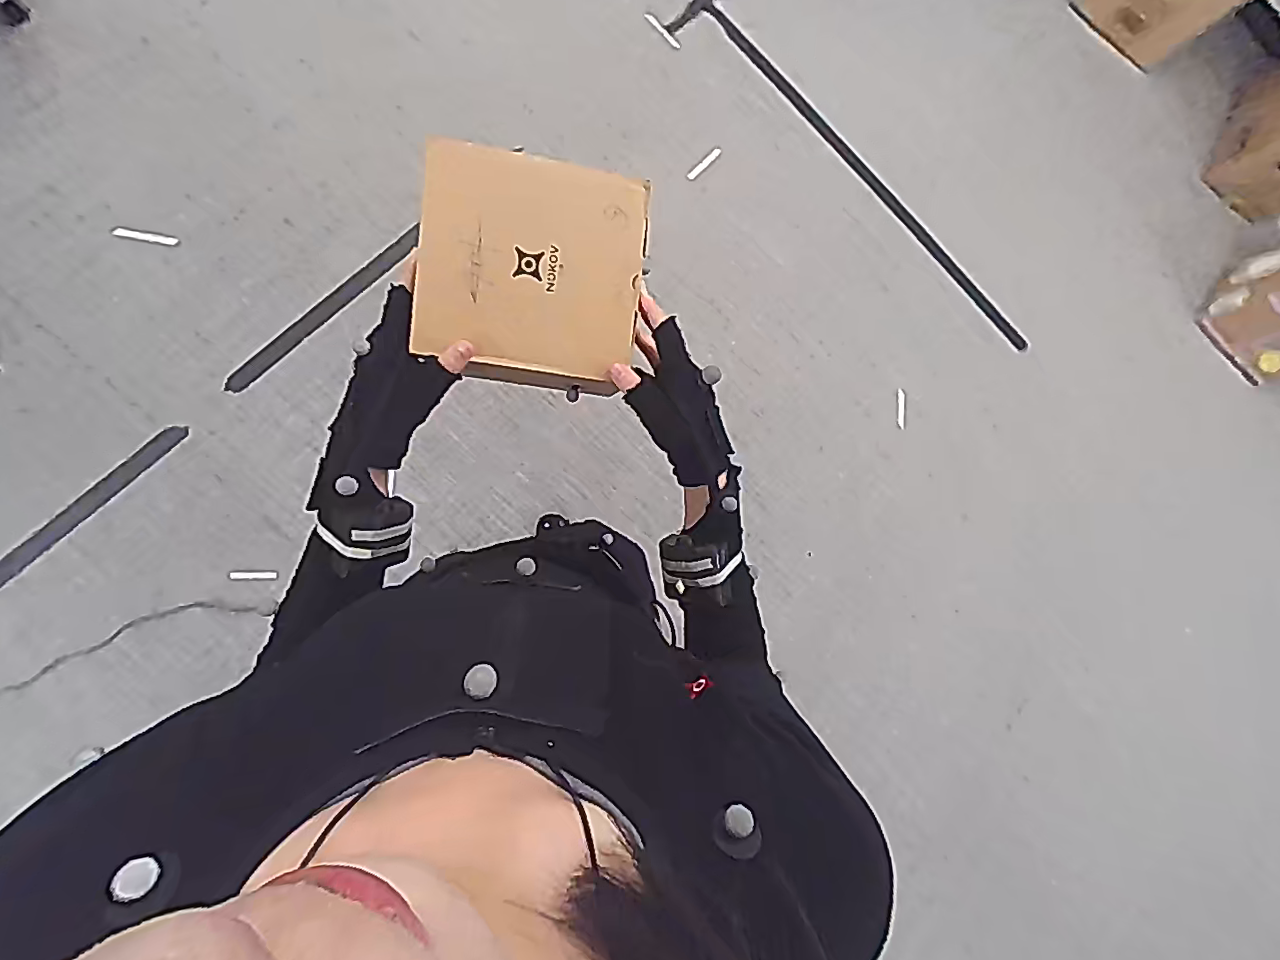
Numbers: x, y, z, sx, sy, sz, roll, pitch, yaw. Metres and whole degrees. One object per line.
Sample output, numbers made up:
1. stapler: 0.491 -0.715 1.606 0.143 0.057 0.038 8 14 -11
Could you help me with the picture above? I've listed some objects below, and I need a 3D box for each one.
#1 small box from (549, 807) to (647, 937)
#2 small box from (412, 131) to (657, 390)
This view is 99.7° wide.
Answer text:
1. small box: -0.112 0.953 1.340 0.179 0.176 0.168 46 77 -3
2. small box: -0.091 -0.176 0.495 0.179 0.176 0.168 5 94 -8
